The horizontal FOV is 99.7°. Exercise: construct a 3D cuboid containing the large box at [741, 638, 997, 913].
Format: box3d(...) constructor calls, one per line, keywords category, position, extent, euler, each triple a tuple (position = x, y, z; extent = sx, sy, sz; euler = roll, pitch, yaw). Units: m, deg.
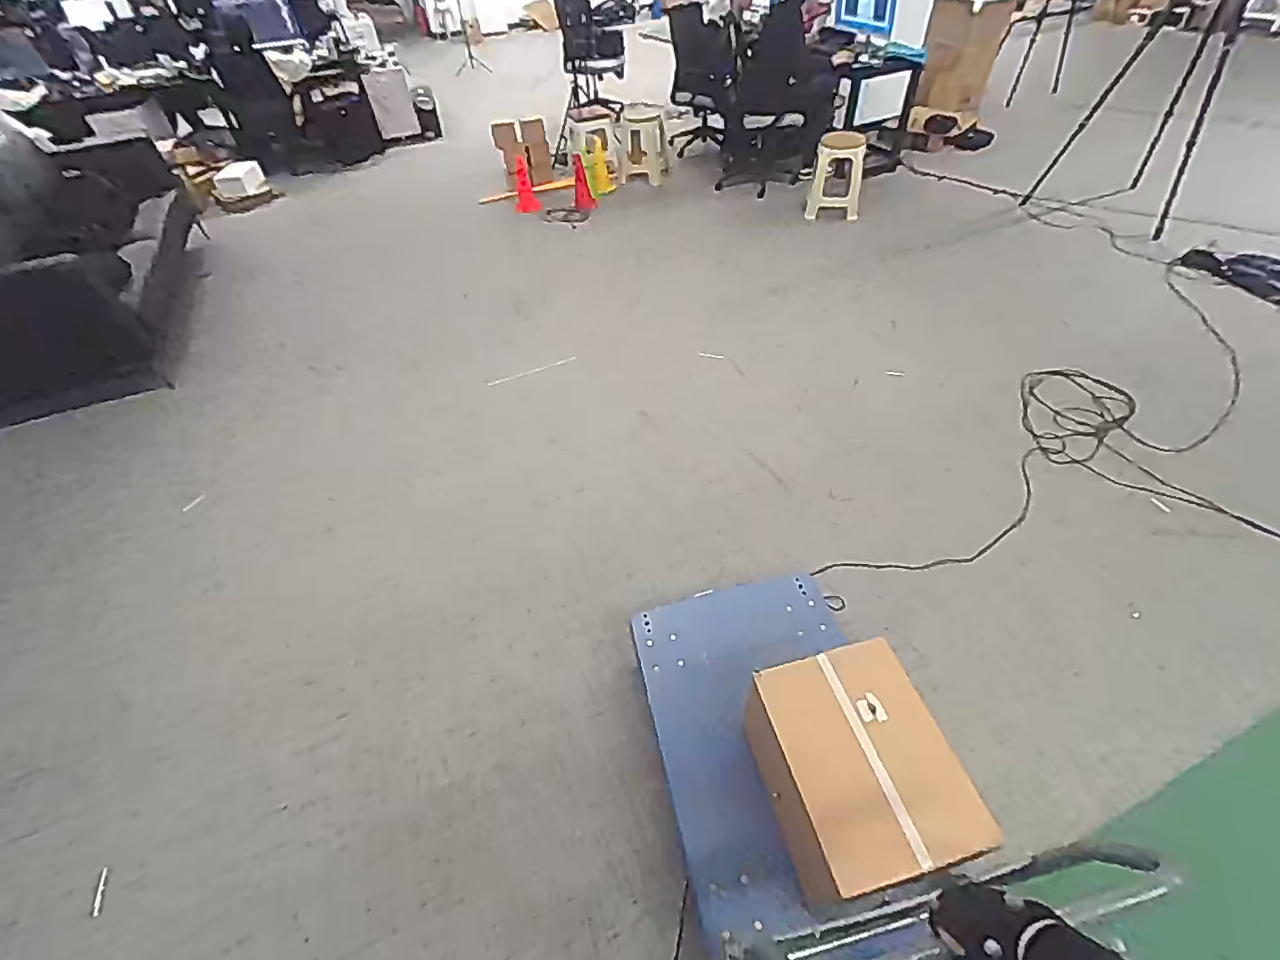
box3d(category="large box", position=(0.438, 0.623, 1.157), extent=(0.320, 0.320, 0.408), euler=(-12, 47, -7))
